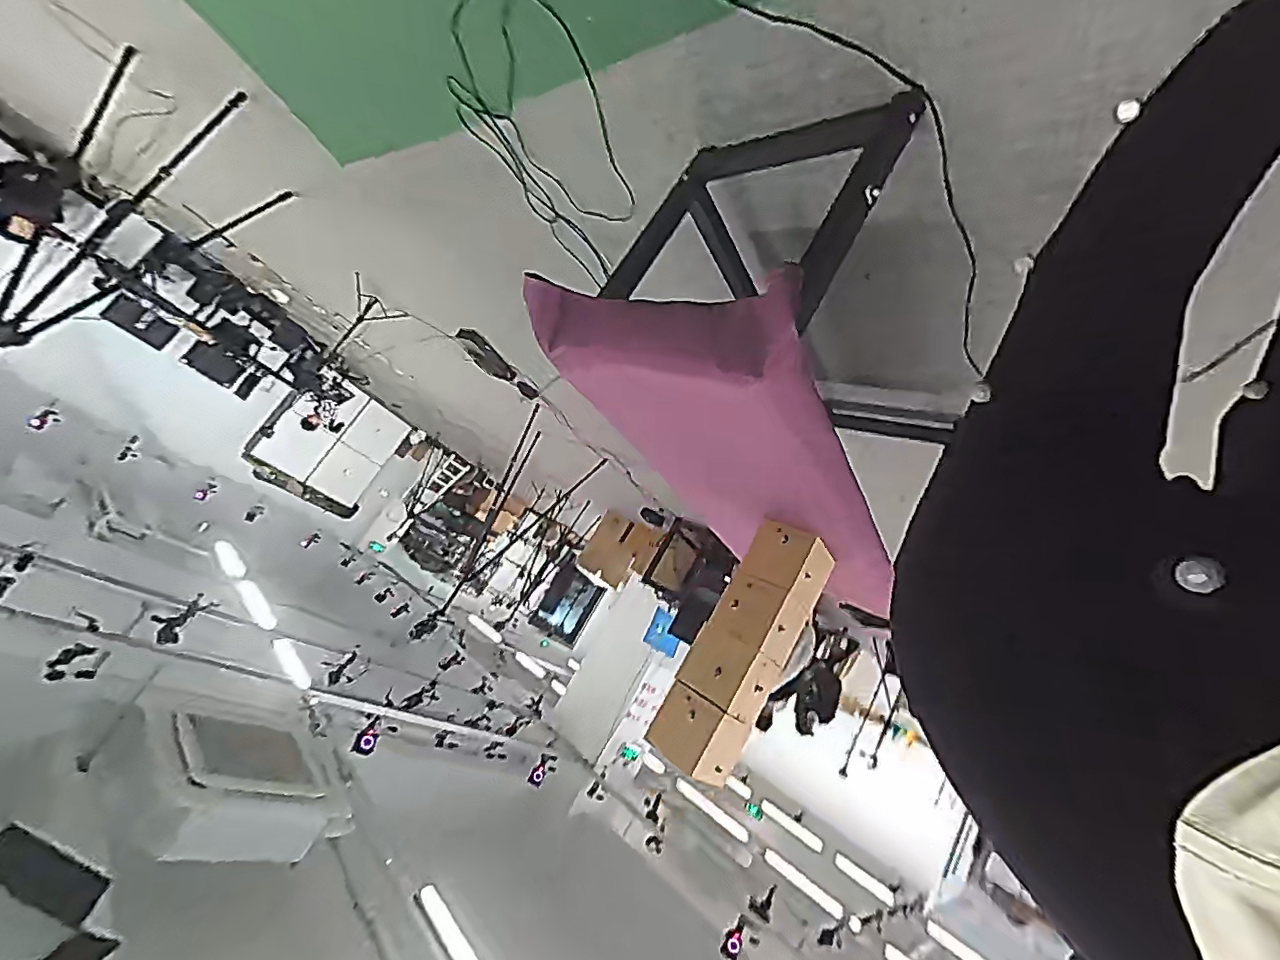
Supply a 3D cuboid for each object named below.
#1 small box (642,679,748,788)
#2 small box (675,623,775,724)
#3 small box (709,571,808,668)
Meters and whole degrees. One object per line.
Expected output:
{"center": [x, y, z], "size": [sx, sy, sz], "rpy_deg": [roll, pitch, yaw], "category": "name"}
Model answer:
{"center": [0.145, 0.631, 1.356], "size": [0.168, 0.176, 0.179], "rpy_deg": [19, 160, 45], "category": "small box"}
{"center": [0.229, 0.496, 1.400], "size": [0.179, 0.176, 0.168], "rpy_deg": [18, 159, 44], "category": "small box"}
{"center": [0.318, 0.364, 1.435], "size": [0.168, 0.176, 0.179], "rpy_deg": [19, 161, 43], "category": "small box"}
